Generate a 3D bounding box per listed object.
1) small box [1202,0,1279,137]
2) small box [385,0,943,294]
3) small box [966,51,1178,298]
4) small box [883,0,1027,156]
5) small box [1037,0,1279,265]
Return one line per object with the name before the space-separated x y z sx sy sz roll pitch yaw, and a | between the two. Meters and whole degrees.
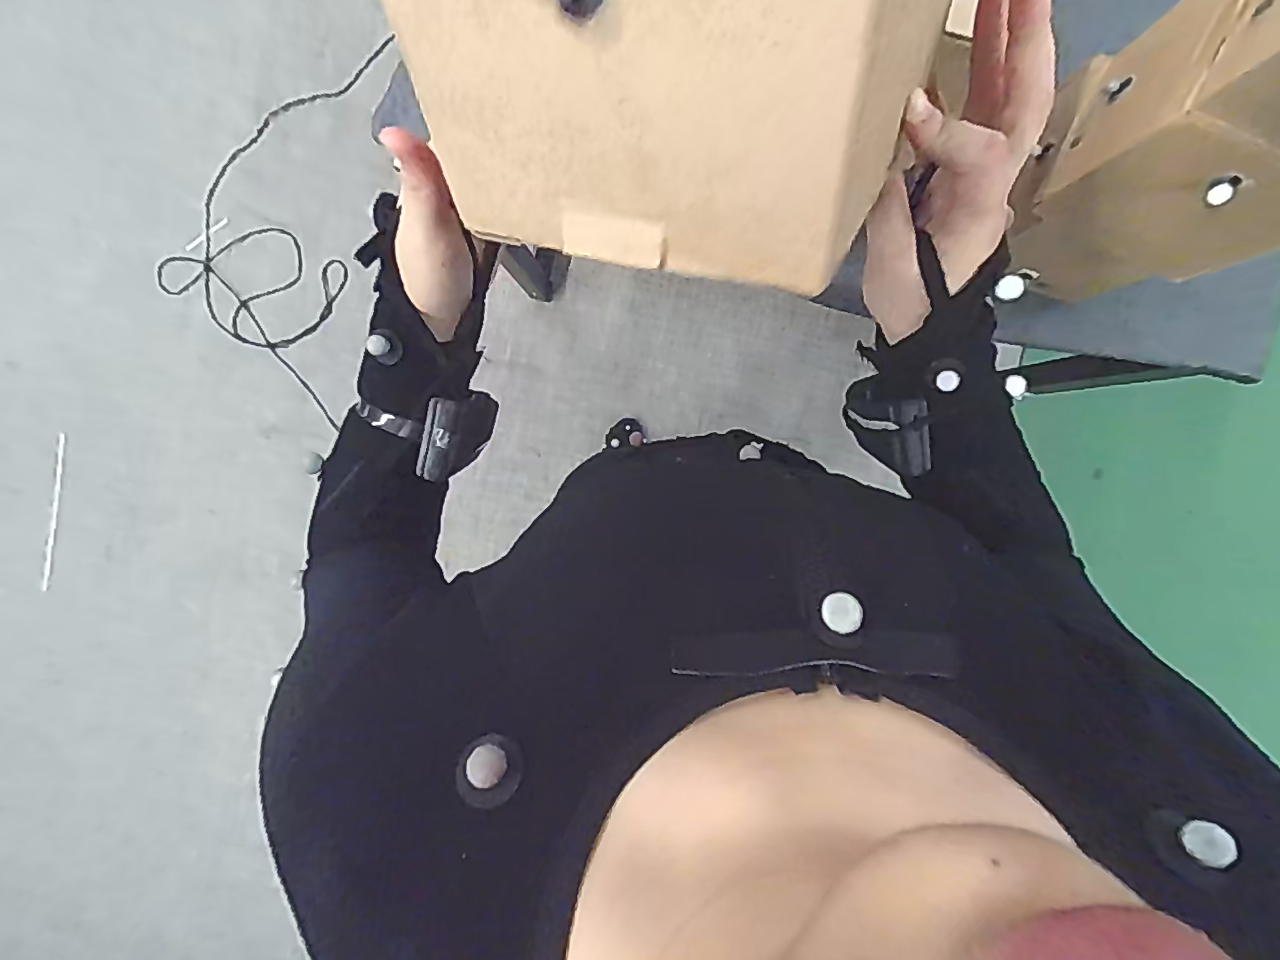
small box | 0.512 -0.305 0.307 0.179 0.176 0.168 28 93 1
small box | 0.016 -0.201 0.195 0.168 0.176 0.179 22 60 22
small box | 0.522 -0.337 0.633 0.168 0.176 0.179 15 94 1
small box | 0.212 -0.418 0.470 0.179 0.176 0.168 15 94 1
small box | 0.513 -0.313 0.472 0.179 0.176 0.168 26 94 1
